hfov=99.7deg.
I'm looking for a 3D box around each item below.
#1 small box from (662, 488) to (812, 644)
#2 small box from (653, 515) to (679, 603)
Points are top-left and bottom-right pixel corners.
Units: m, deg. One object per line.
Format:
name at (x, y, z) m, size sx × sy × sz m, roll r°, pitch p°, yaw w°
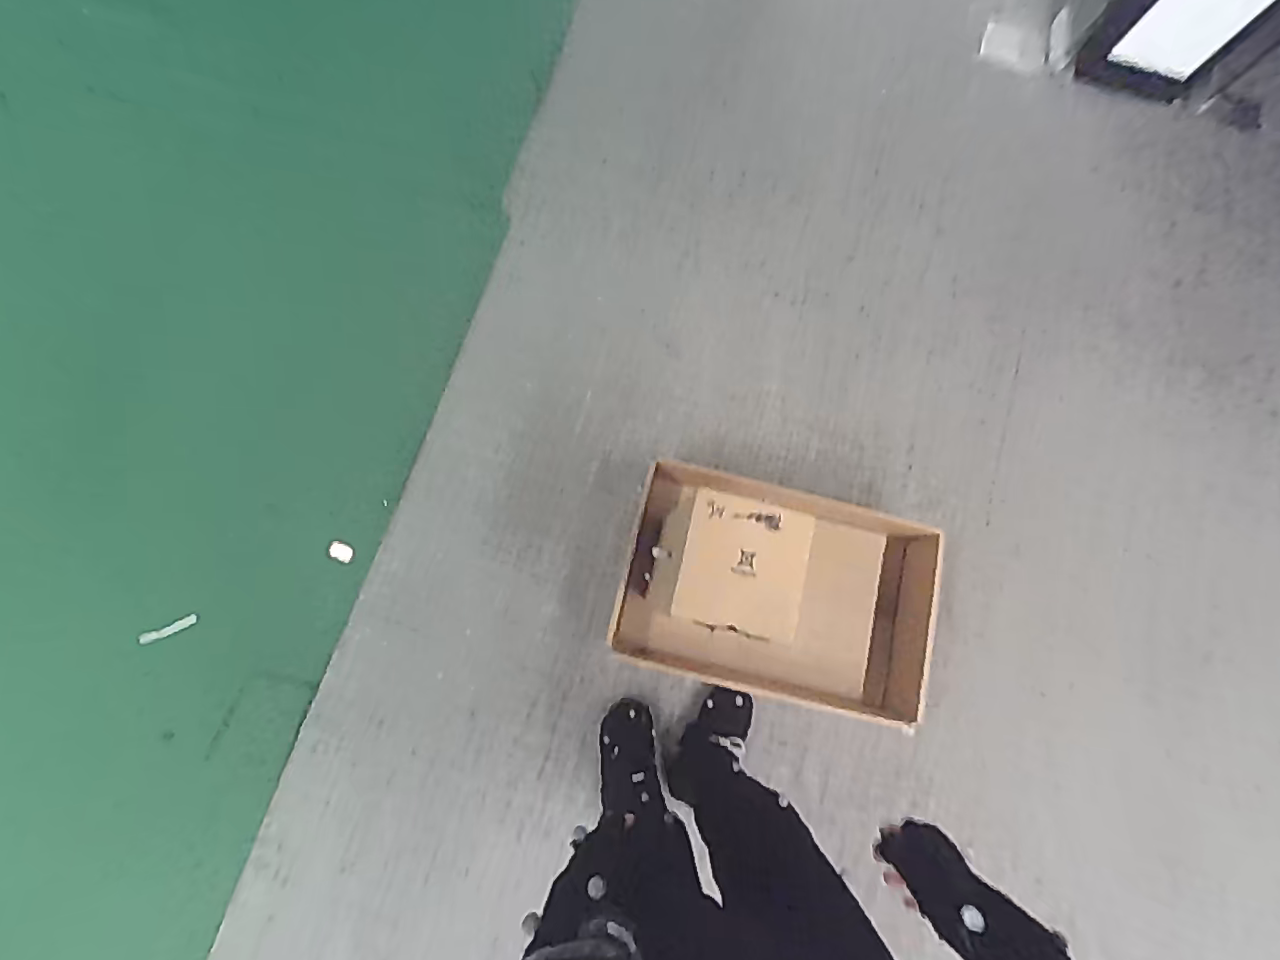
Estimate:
small box at (0.131, 0.126, 0.794) m, size 0.168 × 0.176 × 0.179 m, roll 14°, pitch 79°, yaw -1°
small box at (0.129, 0.153, 0.955) m, size 0.179 × 0.176 × 0.168 m, roll 14°, pitch 79°, yaw 0°
